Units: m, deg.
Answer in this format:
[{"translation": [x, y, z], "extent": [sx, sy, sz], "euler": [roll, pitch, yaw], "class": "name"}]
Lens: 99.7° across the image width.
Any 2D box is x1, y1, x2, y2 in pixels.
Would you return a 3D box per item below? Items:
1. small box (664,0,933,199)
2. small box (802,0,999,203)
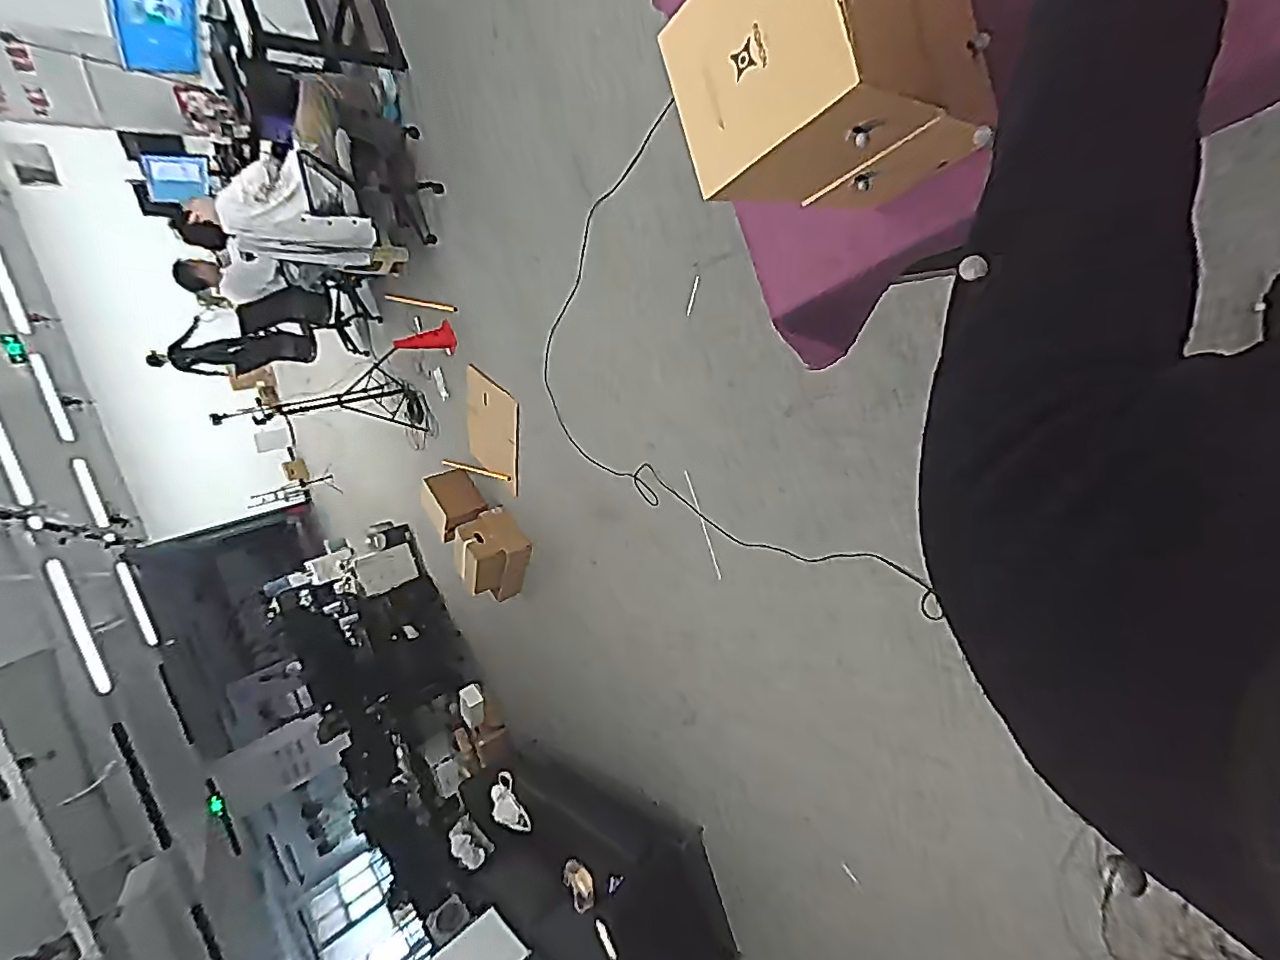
[{"translation": [0.158, -0.396, 0.524], "extent": [0.179, 0.176, 0.168], "euler": [-9, 99, 53], "class": "small box"}, {"translation": [0.280, -0.443, 0.623], "extent": [0.168, 0.176, 0.179], "euler": [-11, 97, 53], "class": "small box"}]
